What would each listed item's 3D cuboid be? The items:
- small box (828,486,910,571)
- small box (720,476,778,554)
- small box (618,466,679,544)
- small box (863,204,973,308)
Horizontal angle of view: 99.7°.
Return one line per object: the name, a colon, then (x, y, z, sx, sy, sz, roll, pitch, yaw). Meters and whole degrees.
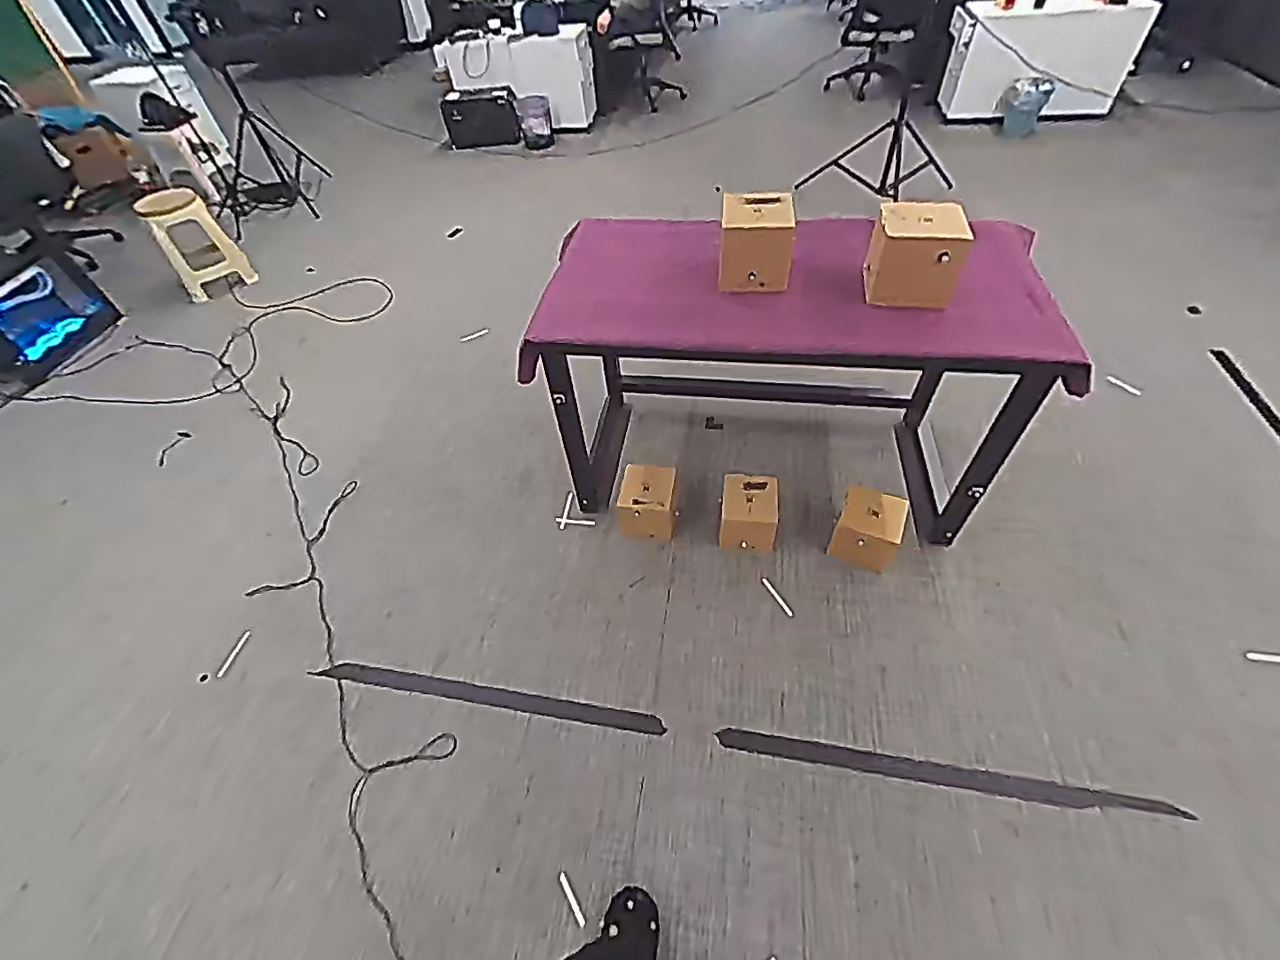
small box: (0.690, 0.151, 1.638, 0.179, 0.176, 0.168, 18, 54, 21)
small box: (0.342, 0.111, 1.705, 0.168, 0.176, 0.179, 4, 51, 9)
small box: (0.031, 0.081, 1.762, 0.168, 0.176, 0.179, 6, 49, 11)
small box: (0.630, -0.514, 1.247, 0.179, 0.176, 0.168, 6, 50, 11)
